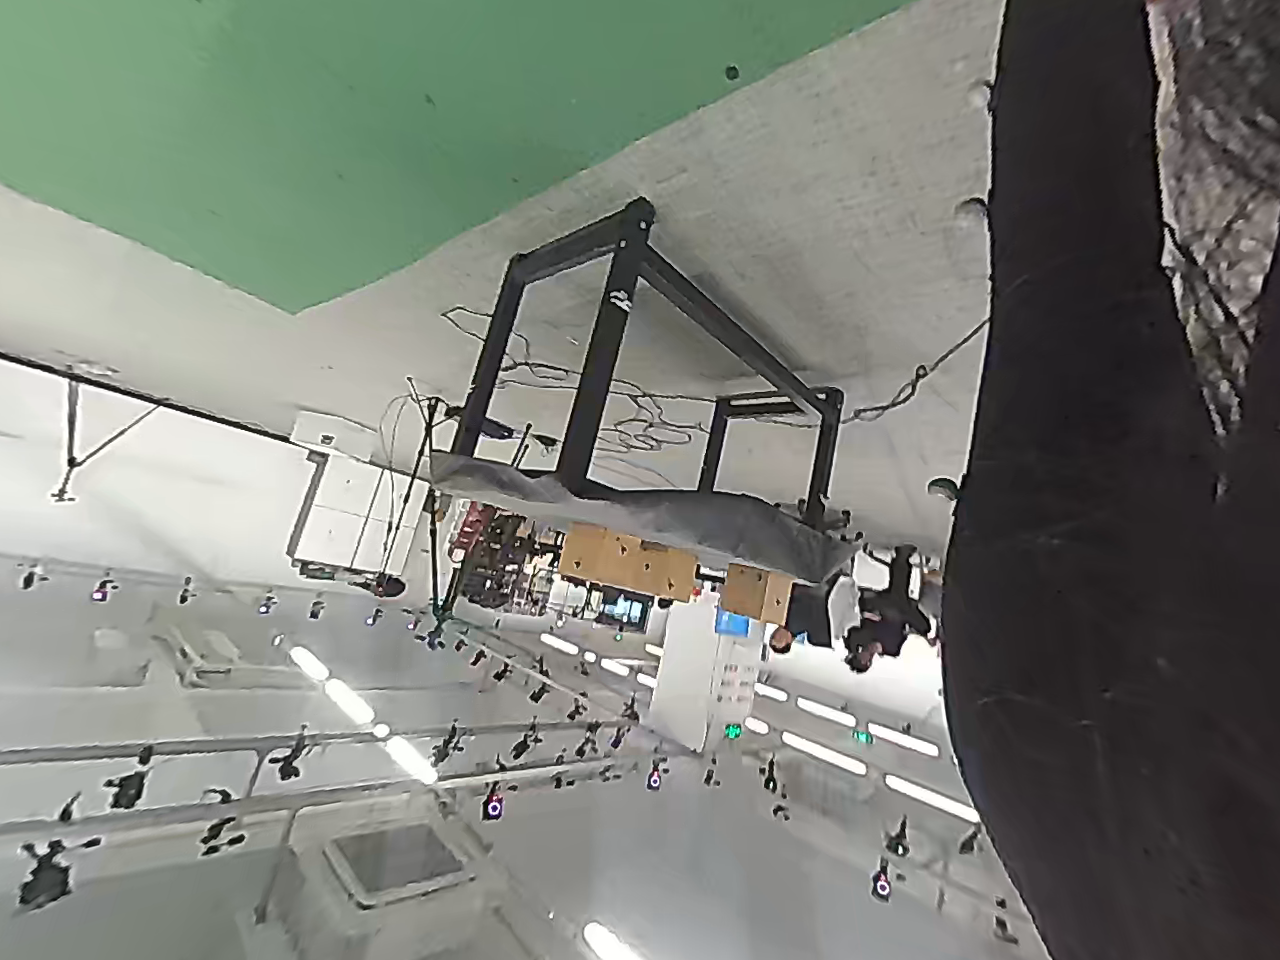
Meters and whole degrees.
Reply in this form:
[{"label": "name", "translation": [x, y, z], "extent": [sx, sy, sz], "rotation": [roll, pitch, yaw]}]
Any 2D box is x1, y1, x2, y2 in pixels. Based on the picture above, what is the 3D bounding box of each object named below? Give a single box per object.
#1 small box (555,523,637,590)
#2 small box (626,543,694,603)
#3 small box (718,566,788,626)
[{"label": "small box", "translation": [-0.135, 0.236, 1.694], "extent": [0.179, 0.176, 0.168], "rotation": [2, 165, 44]}, {"label": "small box", "translation": [0.065, 0.323, 1.884], "extent": [0.168, 0.176, 0.179], "rotation": [3, 165, 42]}, {"label": "small box", "translation": [0.400, 0.405, 1.898], "extent": [0.168, 0.176, 0.179], "rotation": [4, 166, 44]}]
